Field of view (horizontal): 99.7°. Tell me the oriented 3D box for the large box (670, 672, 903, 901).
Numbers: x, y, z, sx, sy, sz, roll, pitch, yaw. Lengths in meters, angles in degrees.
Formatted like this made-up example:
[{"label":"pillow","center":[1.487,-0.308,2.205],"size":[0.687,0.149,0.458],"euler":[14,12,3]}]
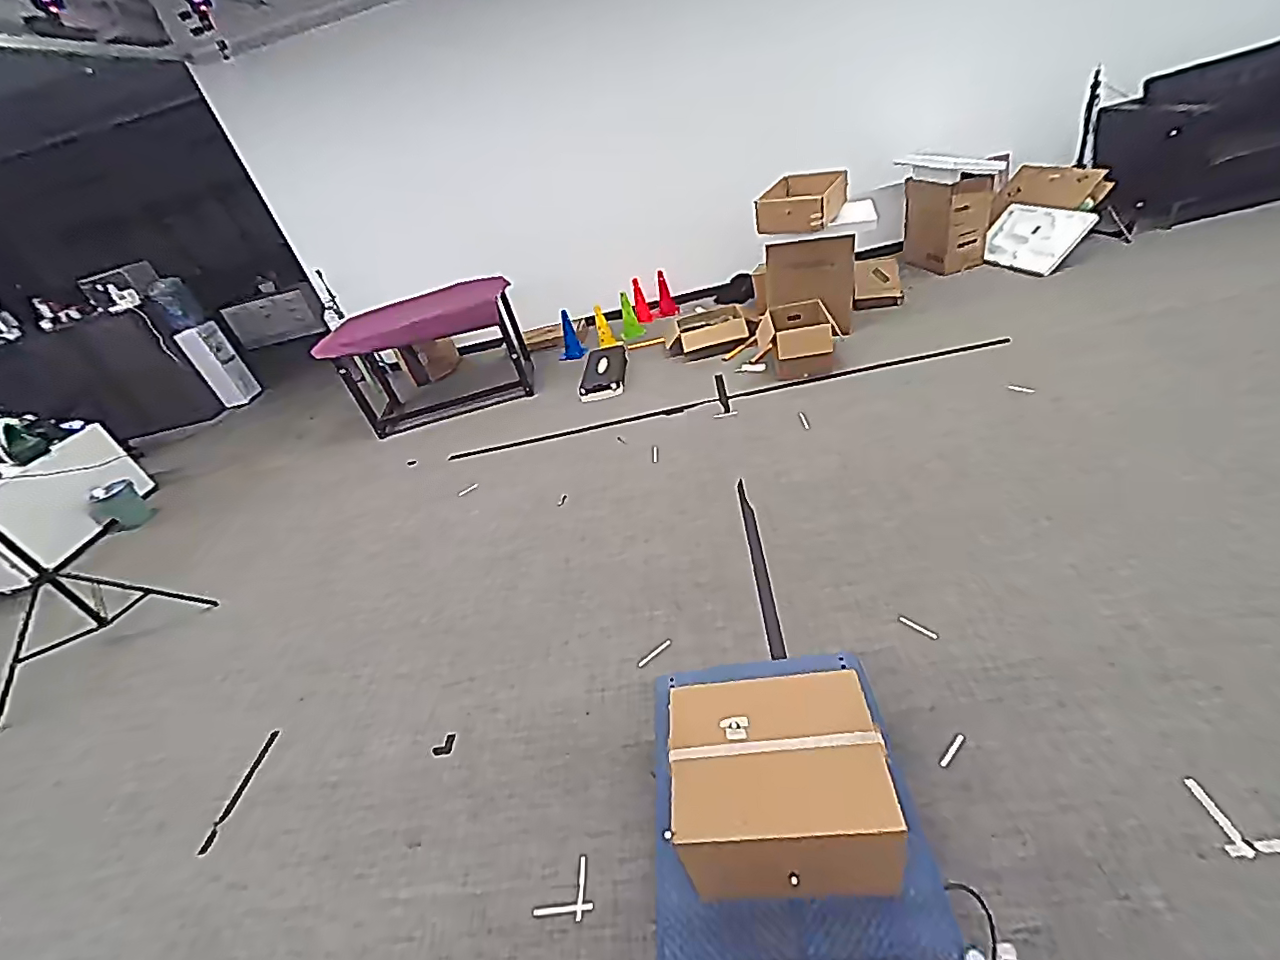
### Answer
[{"label":"large box","center":[0.297,0.656,1.155],"size":[0.408,0.320,0.320],"euler":[-11,34,10]}]
